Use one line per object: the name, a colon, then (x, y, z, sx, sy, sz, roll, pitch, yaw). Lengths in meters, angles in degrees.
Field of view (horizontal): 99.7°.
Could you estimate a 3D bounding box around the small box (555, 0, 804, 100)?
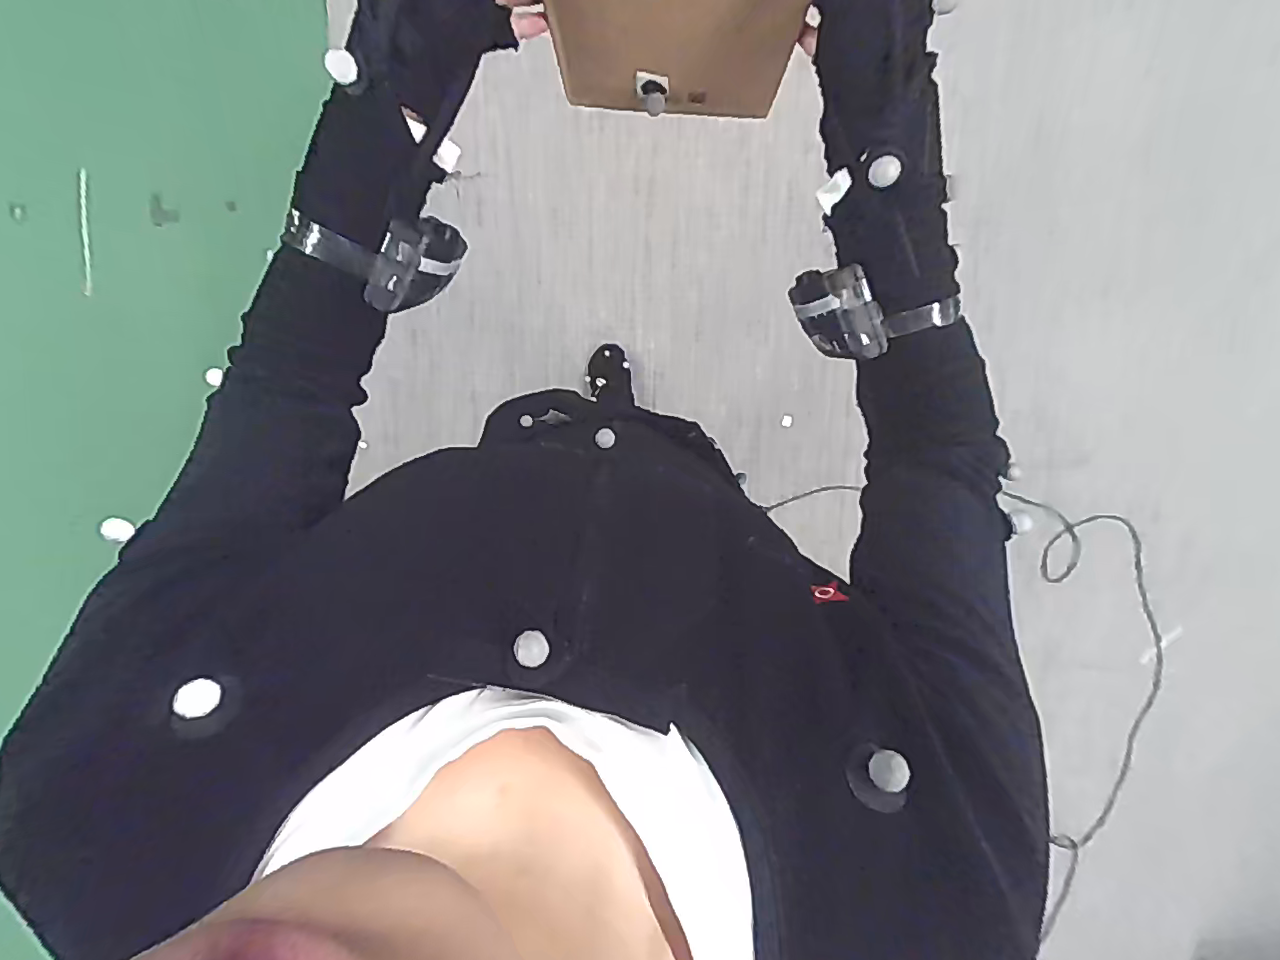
small box: (0.027, -0.389, 0.346, 0.168, 0.176, 0.179, 4, 97, 1)
